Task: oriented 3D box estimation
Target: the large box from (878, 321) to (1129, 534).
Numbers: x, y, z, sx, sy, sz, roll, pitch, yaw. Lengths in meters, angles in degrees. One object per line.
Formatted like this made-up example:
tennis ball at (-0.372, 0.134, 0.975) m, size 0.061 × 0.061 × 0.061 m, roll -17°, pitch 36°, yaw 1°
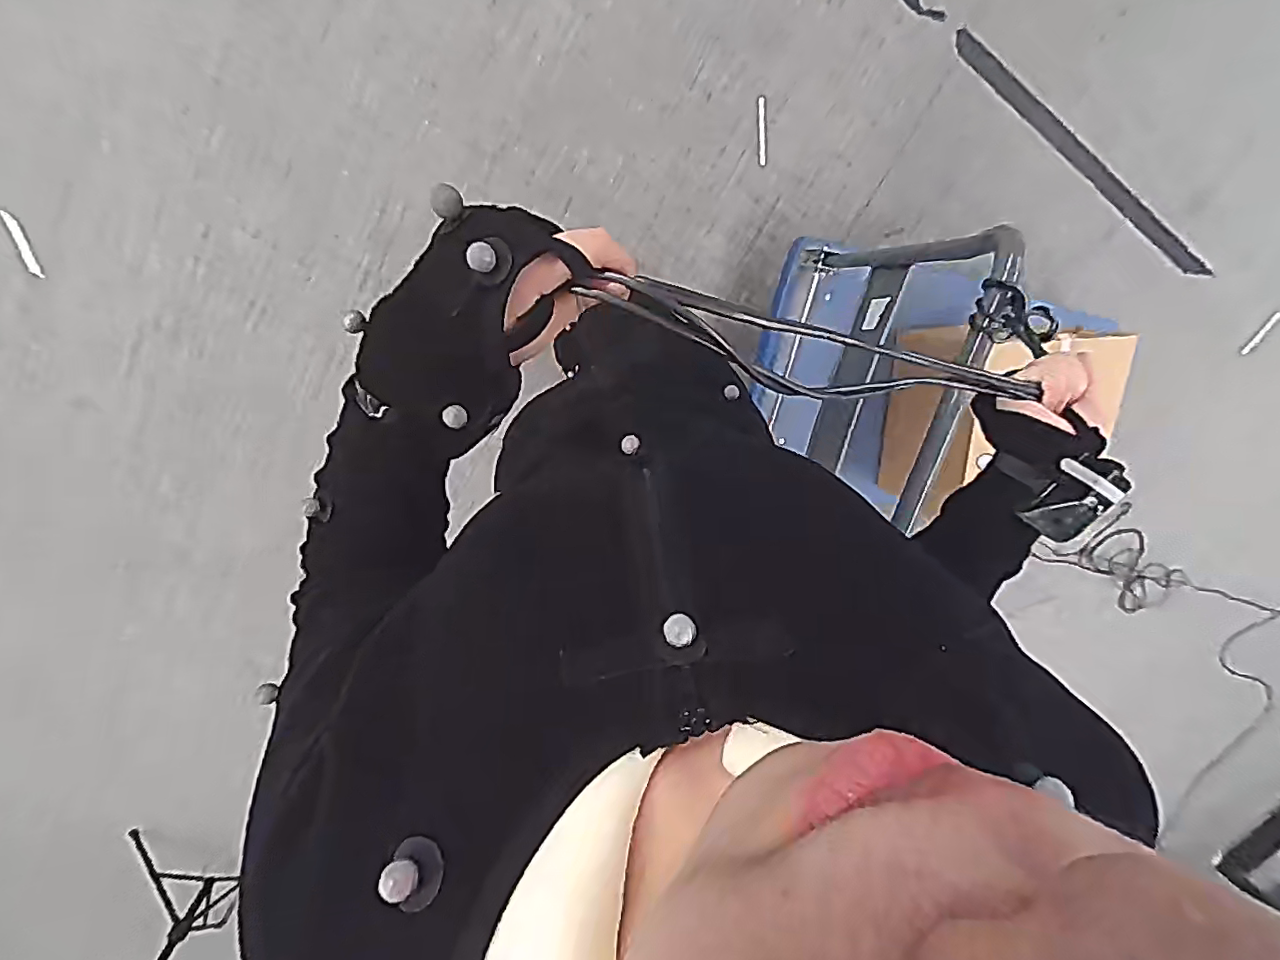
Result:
large box at (0.778, -0.135, 1.225) m, size 0.320 × 0.320 × 0.408 m, roll -4°, pitch 111°, yaw -5°
